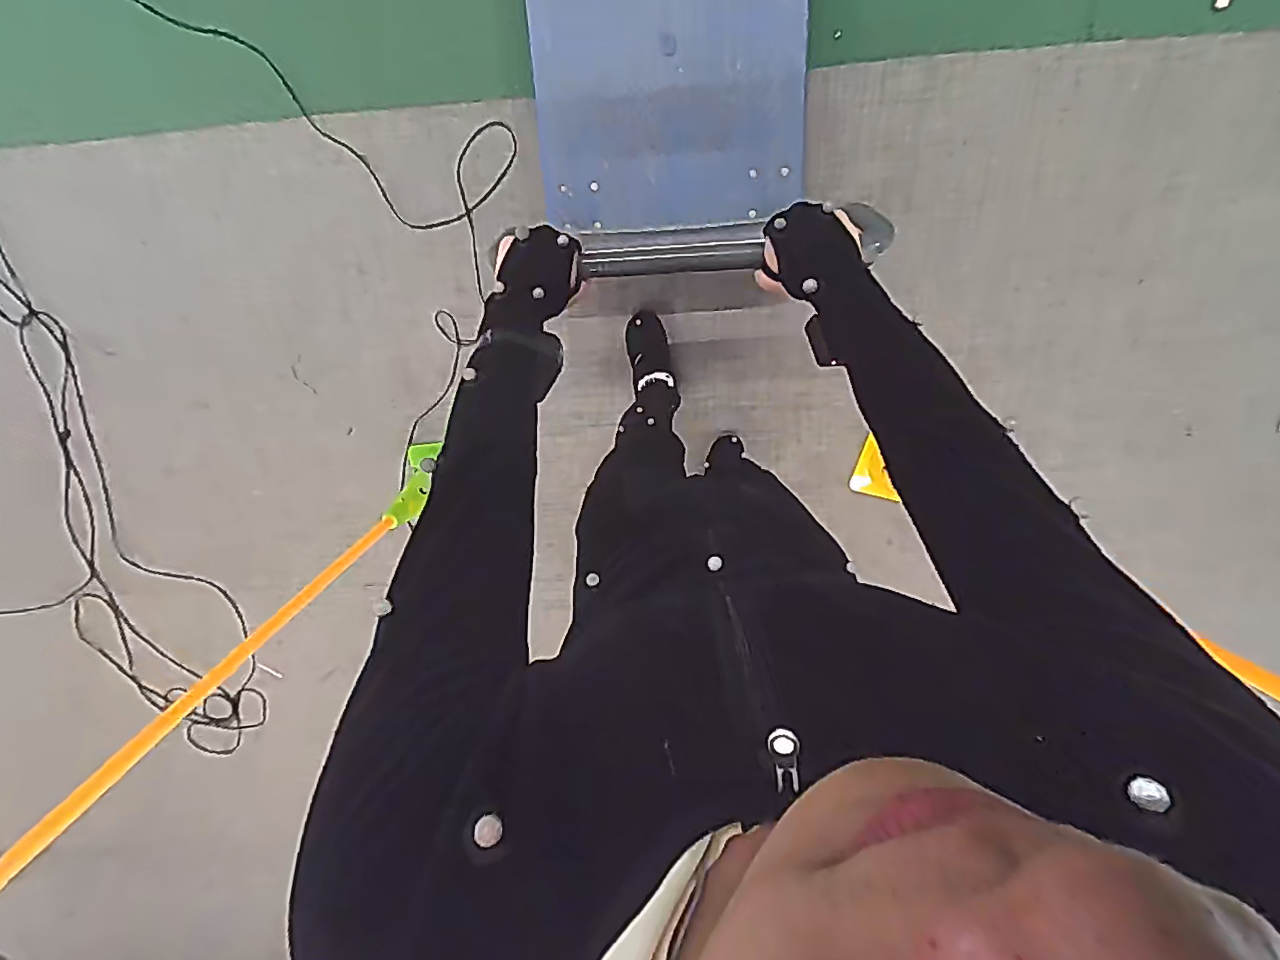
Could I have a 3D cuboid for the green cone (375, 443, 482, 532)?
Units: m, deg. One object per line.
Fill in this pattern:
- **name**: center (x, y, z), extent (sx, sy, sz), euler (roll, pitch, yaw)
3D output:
- **green cone**: center (-0.608, 0.046, 1.482), extent (0.202, 0.368, 0.200), euler (-6, 108, 7)
